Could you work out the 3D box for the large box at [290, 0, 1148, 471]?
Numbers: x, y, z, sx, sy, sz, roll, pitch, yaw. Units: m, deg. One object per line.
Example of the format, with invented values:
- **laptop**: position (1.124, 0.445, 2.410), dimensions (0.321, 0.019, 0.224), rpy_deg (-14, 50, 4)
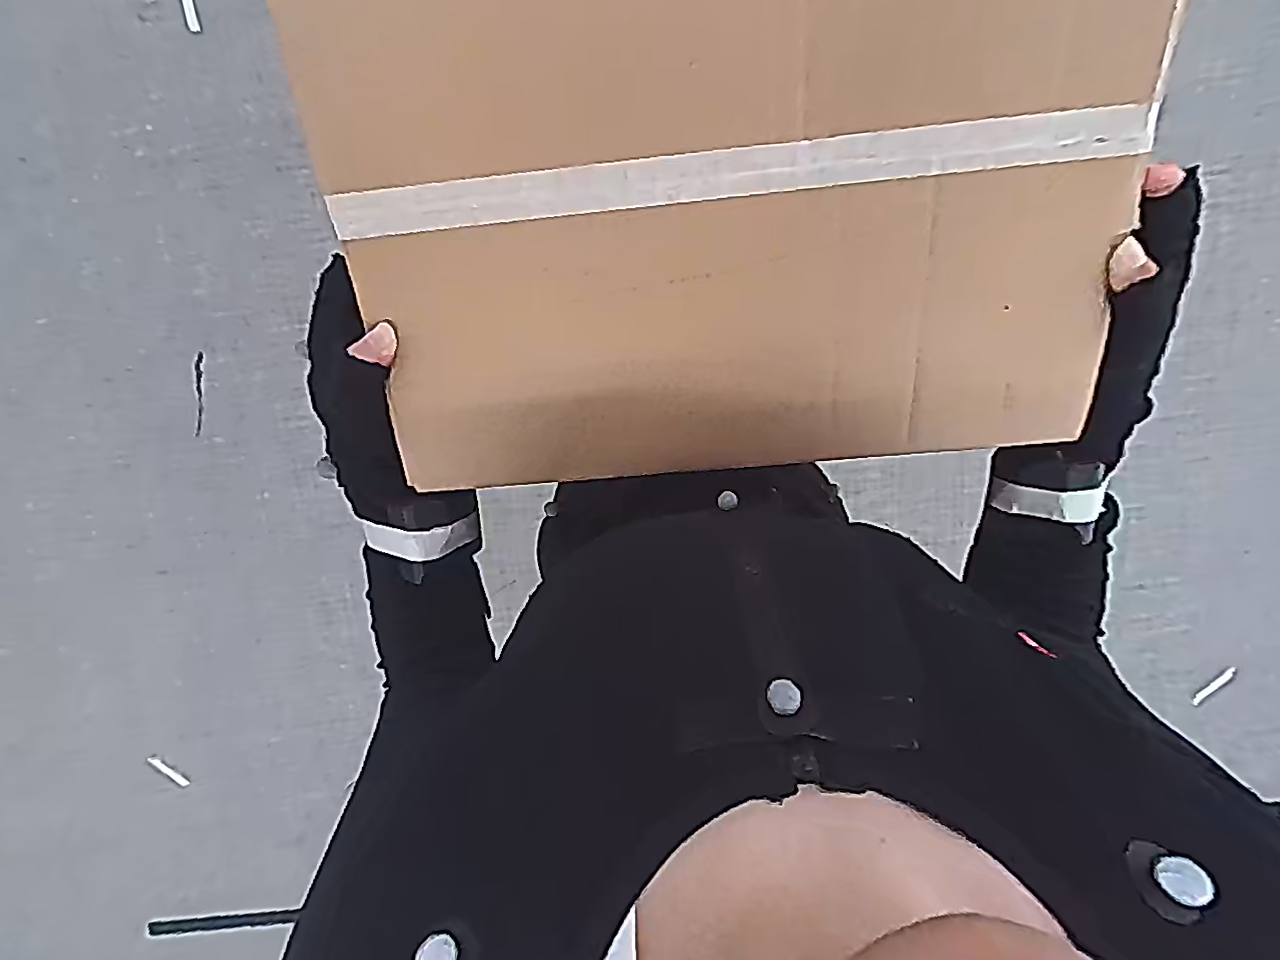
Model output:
- **large box**: position (0.040, -0.221, 0.416), dimensions (0.408, 0.320, 0.320), rpy_deg (-5, 114, 2)
